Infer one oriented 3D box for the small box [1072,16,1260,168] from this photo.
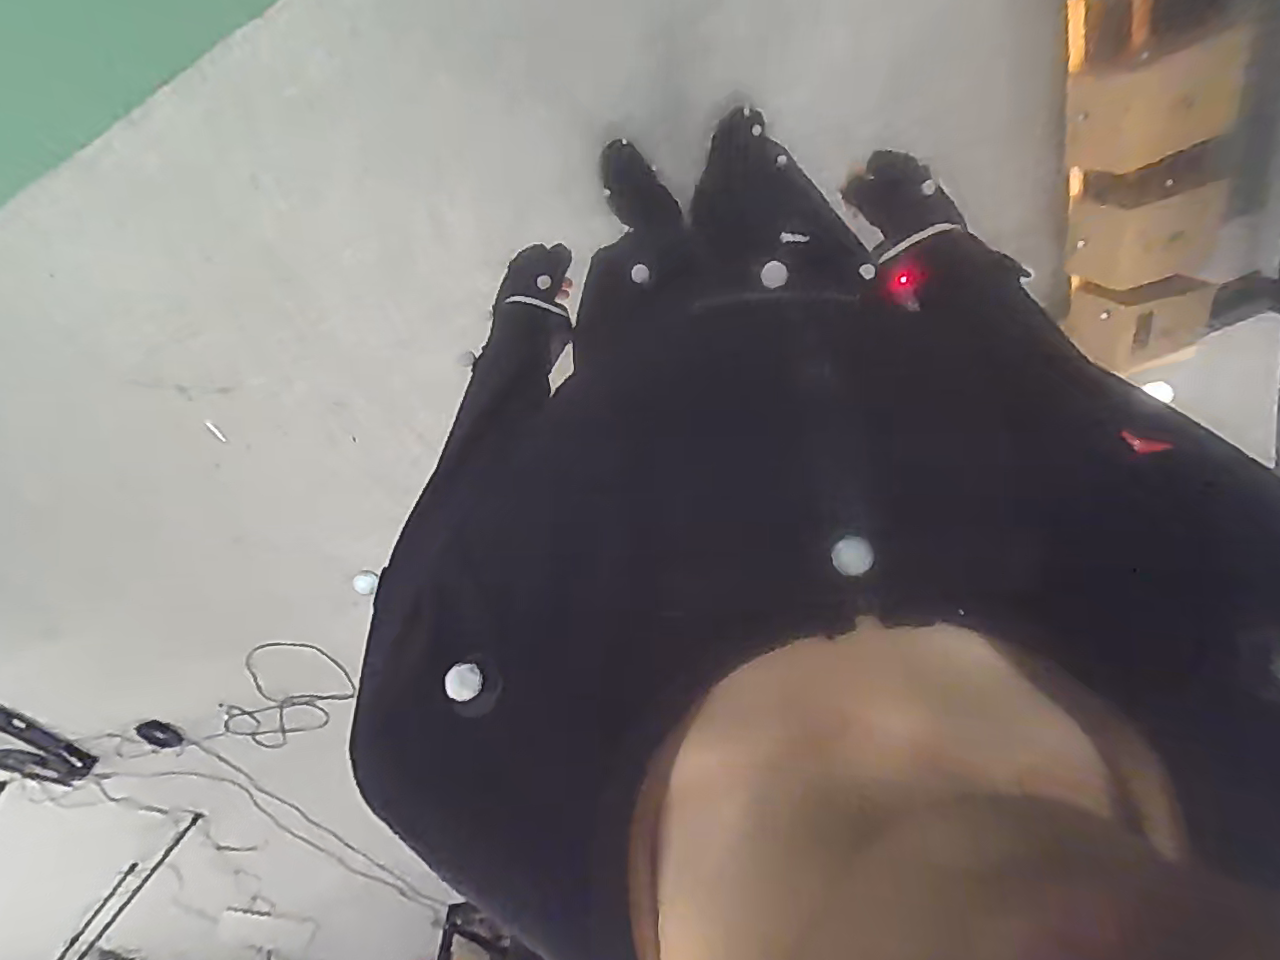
[{"bbox_3d":[0.944,-0.705,0.991,0.179,0.176,0.168,-20,123,14],"label":"small box"}]
